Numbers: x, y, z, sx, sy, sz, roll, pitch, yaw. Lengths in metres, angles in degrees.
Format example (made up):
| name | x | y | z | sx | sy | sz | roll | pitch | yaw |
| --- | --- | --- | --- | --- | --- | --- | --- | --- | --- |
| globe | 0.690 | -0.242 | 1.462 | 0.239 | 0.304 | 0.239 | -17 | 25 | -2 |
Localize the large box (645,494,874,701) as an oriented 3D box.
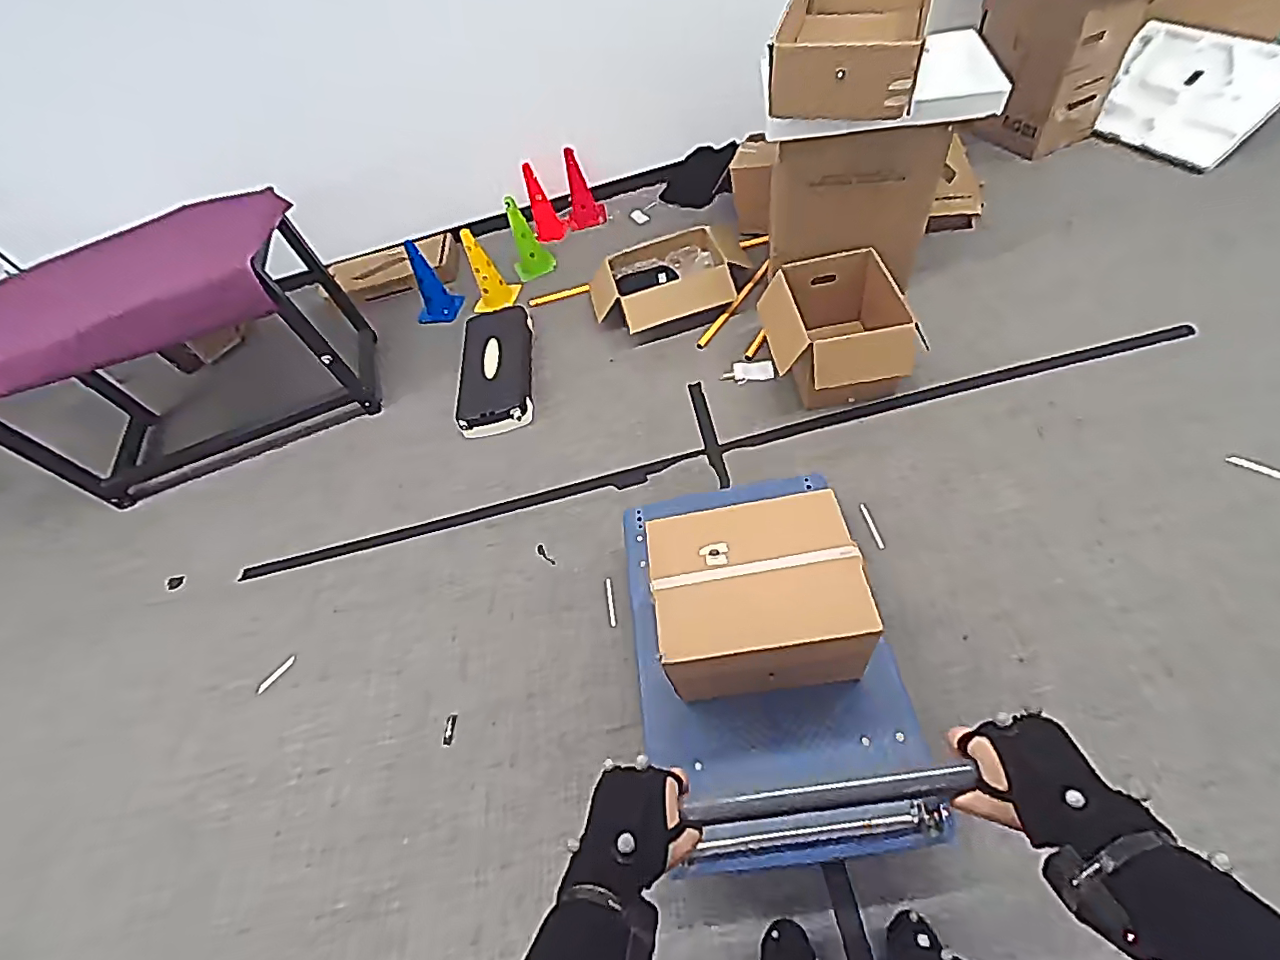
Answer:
| name | x | y | z | sx | sy | sz | roll | pitch | yaw |
| --- | --- | --- | --- | --- | --- | --- | --- | --- | --- |
| large box | 0.251 | 0.275 | 1.208 | 0.408 | 0.320 | 0.320 | -12 | 53 | 7 |
